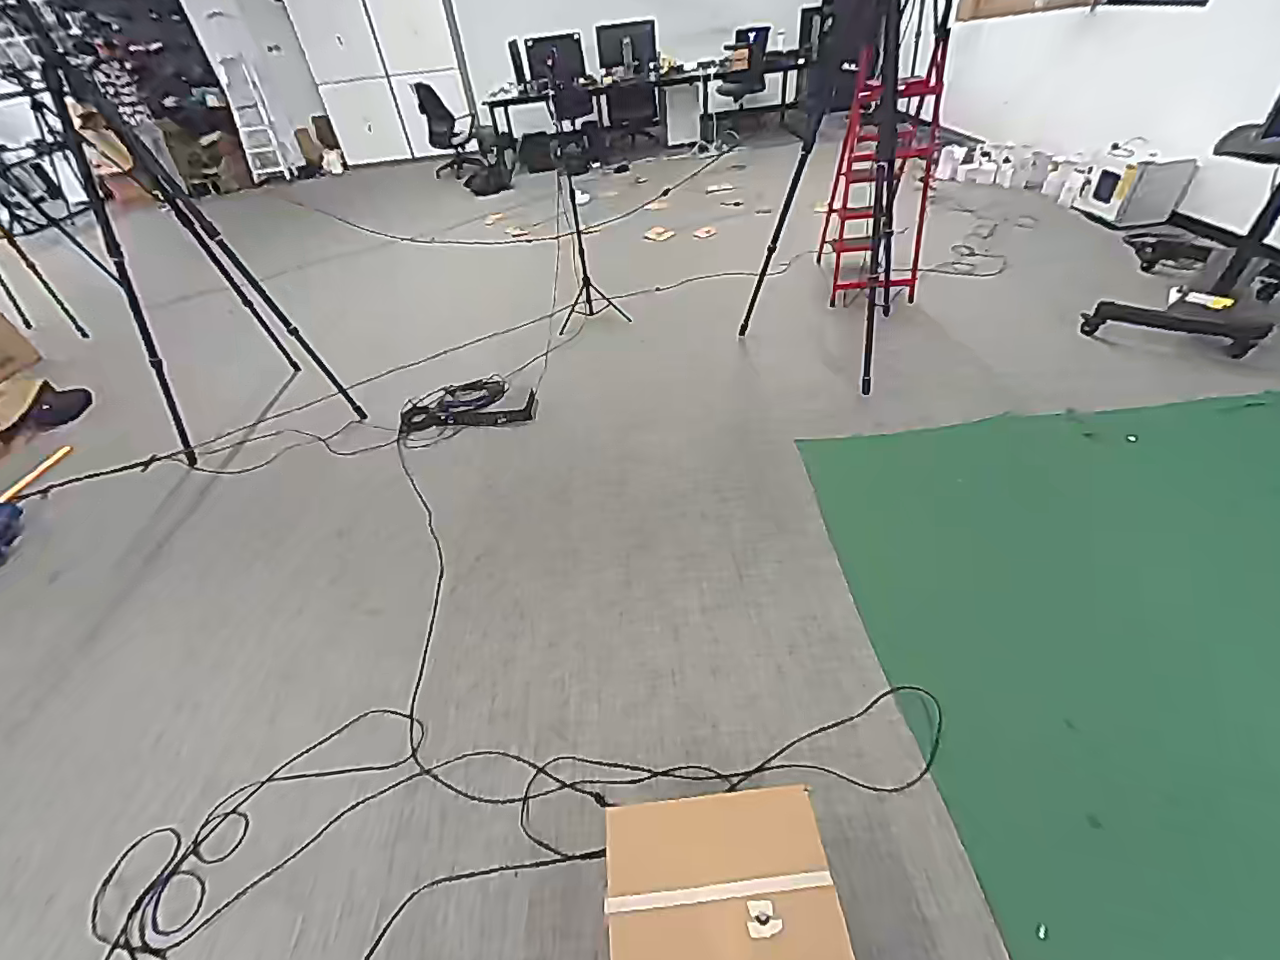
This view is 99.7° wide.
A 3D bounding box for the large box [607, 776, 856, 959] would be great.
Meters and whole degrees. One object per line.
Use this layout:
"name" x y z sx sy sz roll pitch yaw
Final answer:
"large box" 0.157 0.832 1.074 0.408 0.320 0.320 -7 44 0
